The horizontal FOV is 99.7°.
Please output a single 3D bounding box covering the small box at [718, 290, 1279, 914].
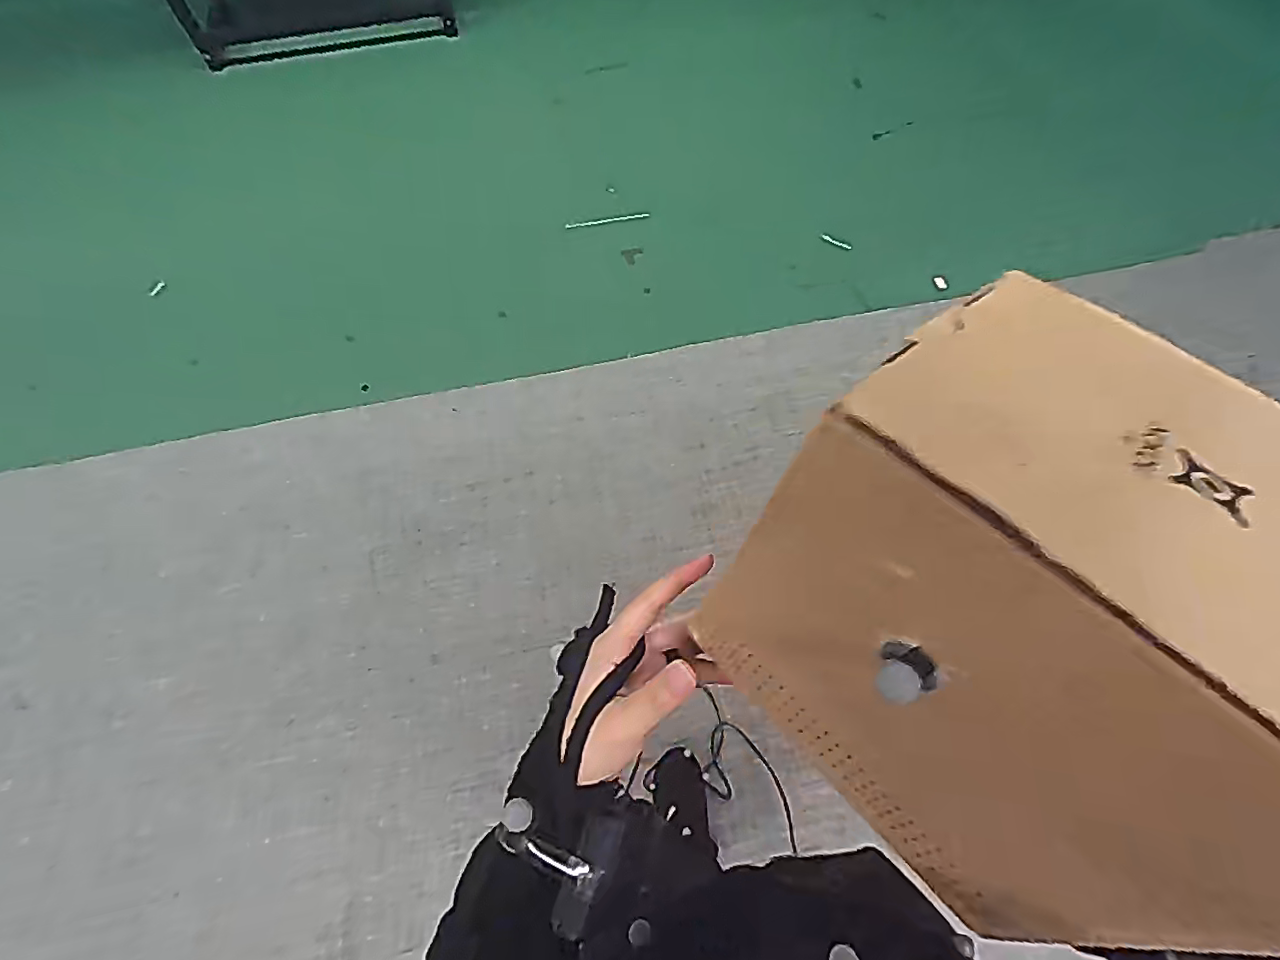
[{"bbox_3d":[0.162,0.051,0.240,0.168,0.176,0.179,-33,65,-32],"label":"small box"}]
